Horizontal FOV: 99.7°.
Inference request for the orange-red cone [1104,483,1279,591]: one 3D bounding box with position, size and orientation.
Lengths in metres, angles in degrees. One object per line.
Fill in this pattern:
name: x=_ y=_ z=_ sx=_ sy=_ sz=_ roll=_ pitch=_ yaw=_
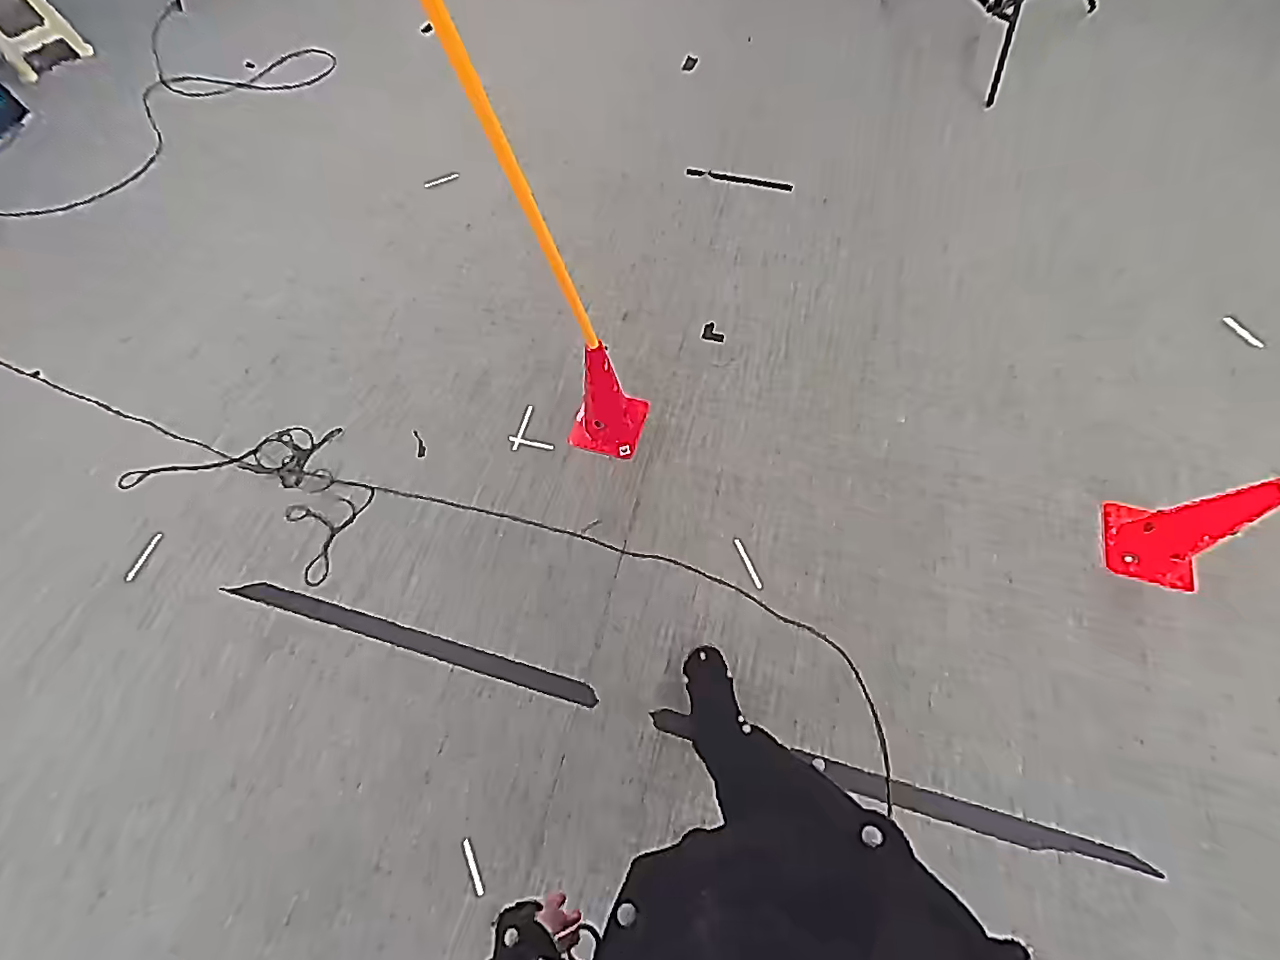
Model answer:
orange-red cone: x=1.249 y=0.086 z=1.177 sx=0.199 sy=0.360 sz=0.198 roll=17 pitch=67 yaw=10
